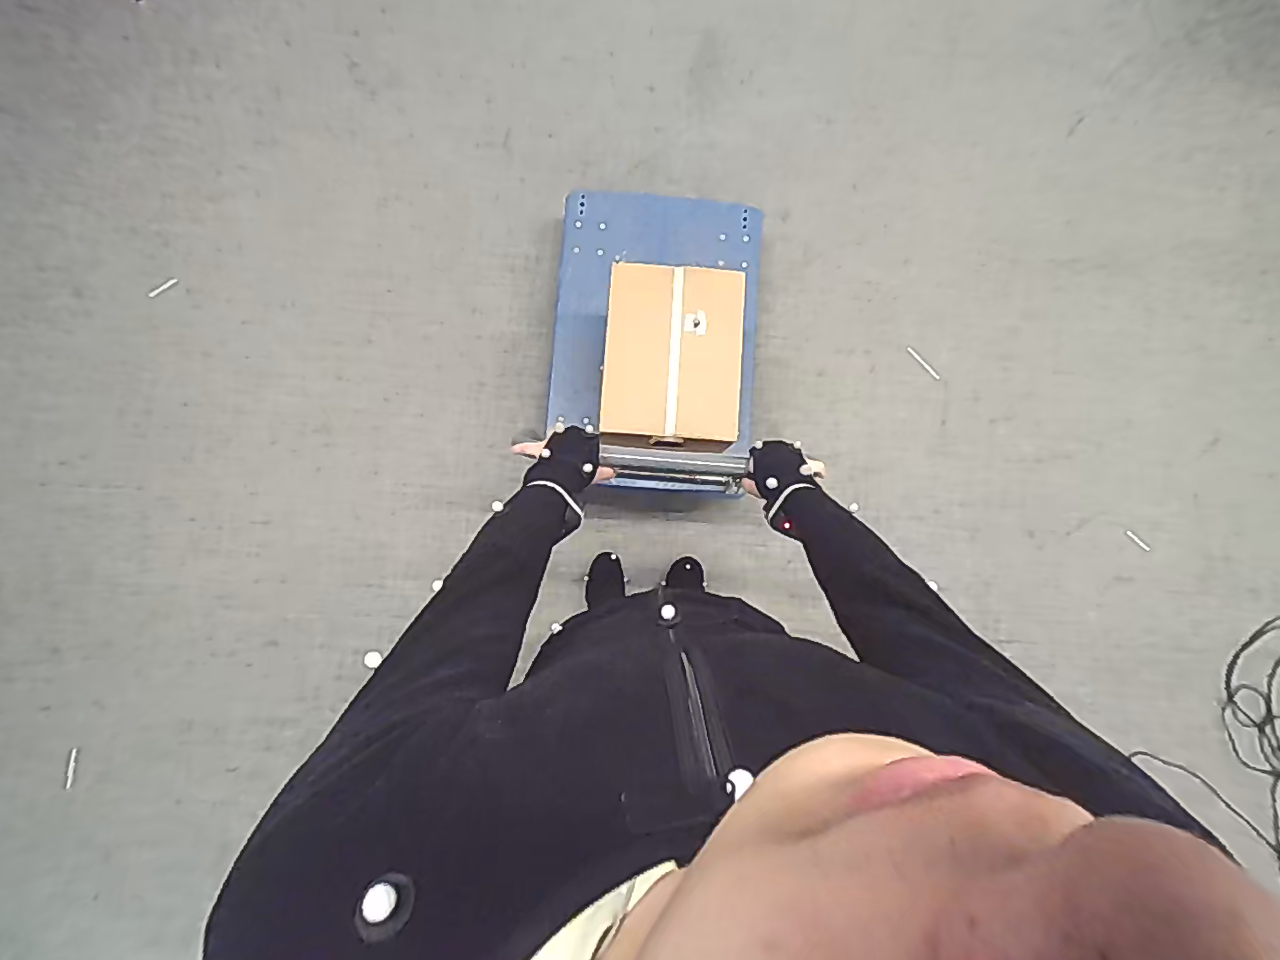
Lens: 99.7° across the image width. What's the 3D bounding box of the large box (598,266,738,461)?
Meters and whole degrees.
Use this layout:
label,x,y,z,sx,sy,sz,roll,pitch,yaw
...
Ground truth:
label,x,y,z,sx,sy,sz,roll,pitch,yaw
large box,0.063,-0.272,1.375,0.320,0.320,0.408,3,82,-3
